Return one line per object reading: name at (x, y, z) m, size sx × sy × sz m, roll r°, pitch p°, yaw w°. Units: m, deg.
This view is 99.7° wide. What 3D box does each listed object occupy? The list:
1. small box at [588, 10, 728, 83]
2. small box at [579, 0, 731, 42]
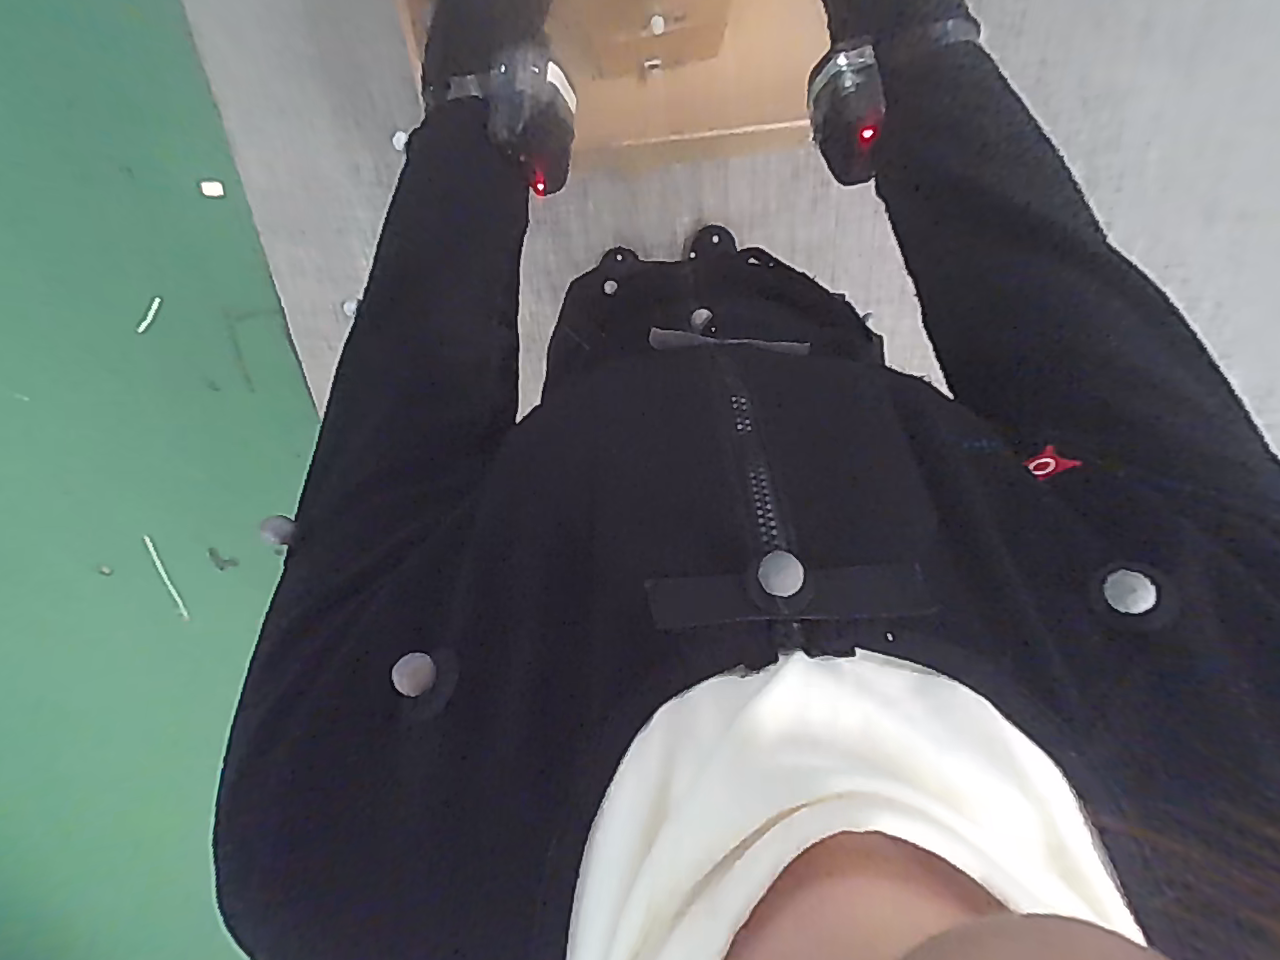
small box at (0.012, -0.636, 0.677) m, size 0.168 × 0.176 × 0.179 m, roll -8°, pitch 114°, yaw 6°
small box at (0.007, -0.572, 0.526) m, size 0.168 × 0.176 × 0.179 m, roll -6°, pitch 114°, yaw 6°
